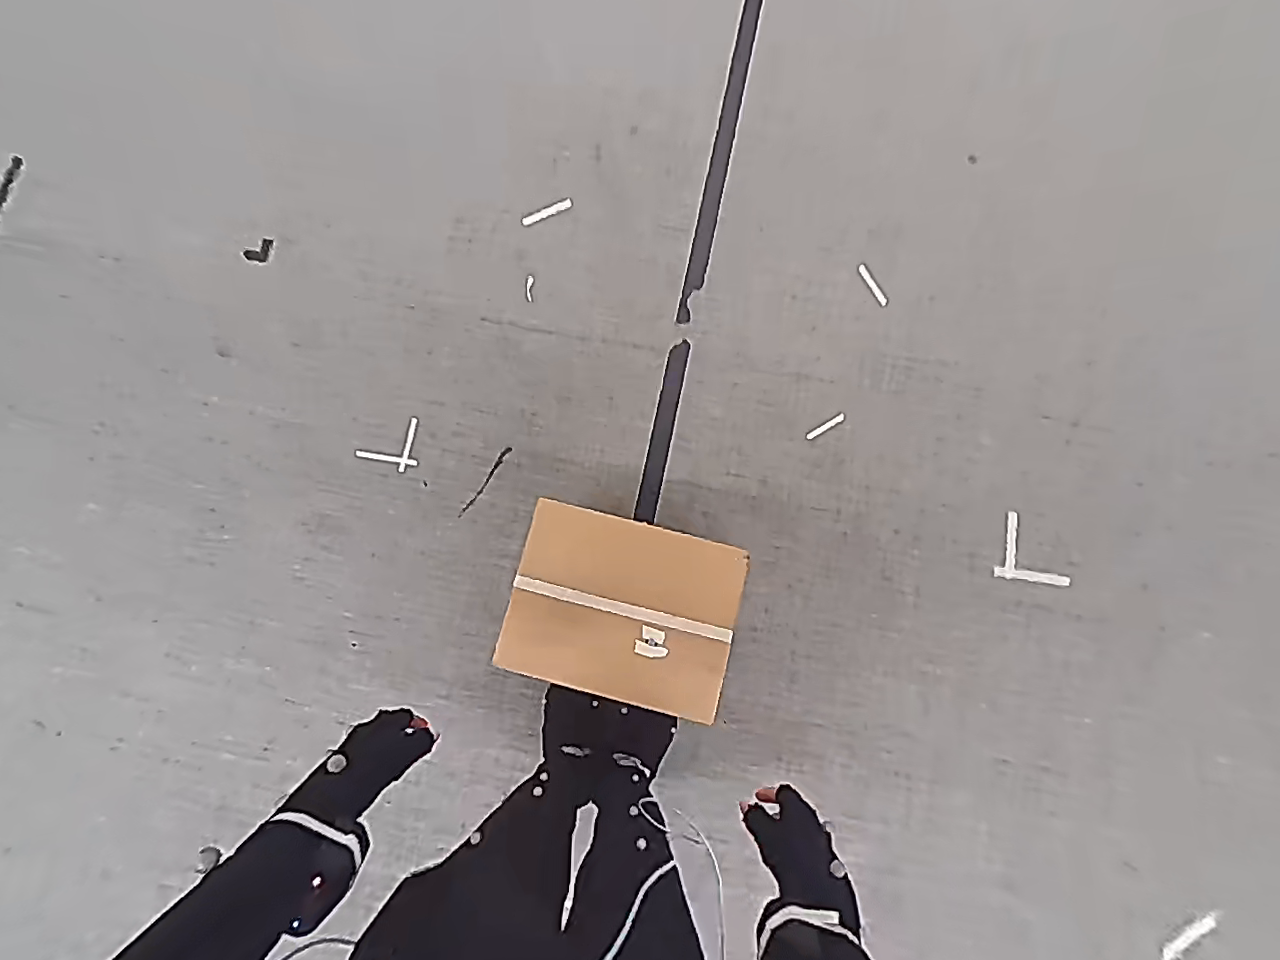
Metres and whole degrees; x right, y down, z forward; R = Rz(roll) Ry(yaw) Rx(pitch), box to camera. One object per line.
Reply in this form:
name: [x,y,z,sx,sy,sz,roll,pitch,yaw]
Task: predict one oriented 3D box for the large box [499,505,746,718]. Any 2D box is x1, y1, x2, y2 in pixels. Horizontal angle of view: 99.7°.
large box: [-0.033,0.259,1.136,0.408,0.320,0.320,14,82,1]
